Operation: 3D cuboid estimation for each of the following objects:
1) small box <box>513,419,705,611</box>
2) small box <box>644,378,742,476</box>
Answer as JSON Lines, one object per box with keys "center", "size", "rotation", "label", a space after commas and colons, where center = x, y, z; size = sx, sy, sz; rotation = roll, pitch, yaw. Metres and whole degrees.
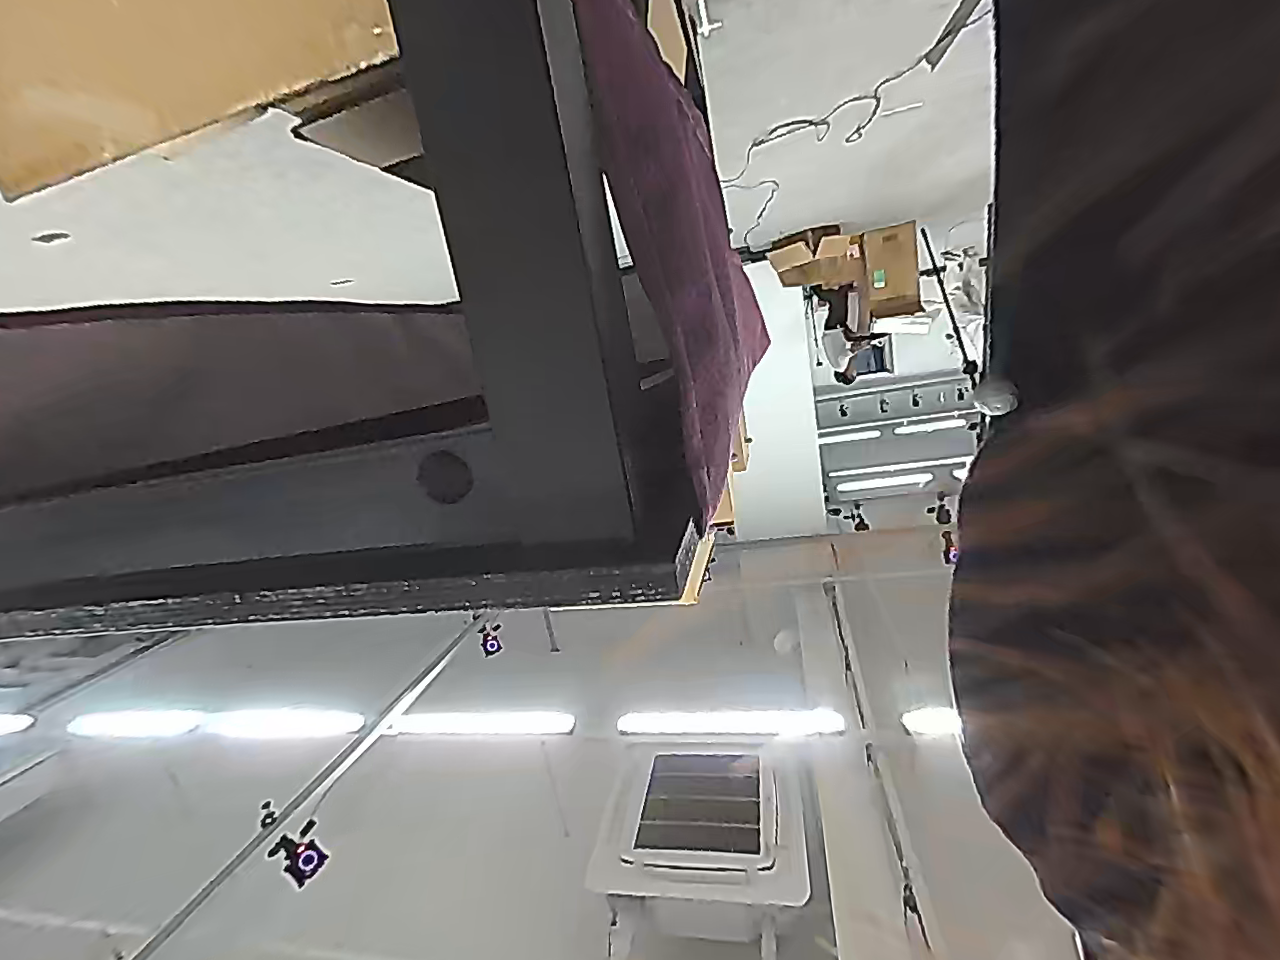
{"center": [-0.023, 0.030, 0.619], "size": [0.168, 0.176, 0.179], "rotation": [-7, -166, 15], "label": "small box"}
{"center": [0.114, -0.110, 1.095], "size": [0.168, 0.176, 0.179], "rotation": [-8, -167, 15], "label": "small box"}
